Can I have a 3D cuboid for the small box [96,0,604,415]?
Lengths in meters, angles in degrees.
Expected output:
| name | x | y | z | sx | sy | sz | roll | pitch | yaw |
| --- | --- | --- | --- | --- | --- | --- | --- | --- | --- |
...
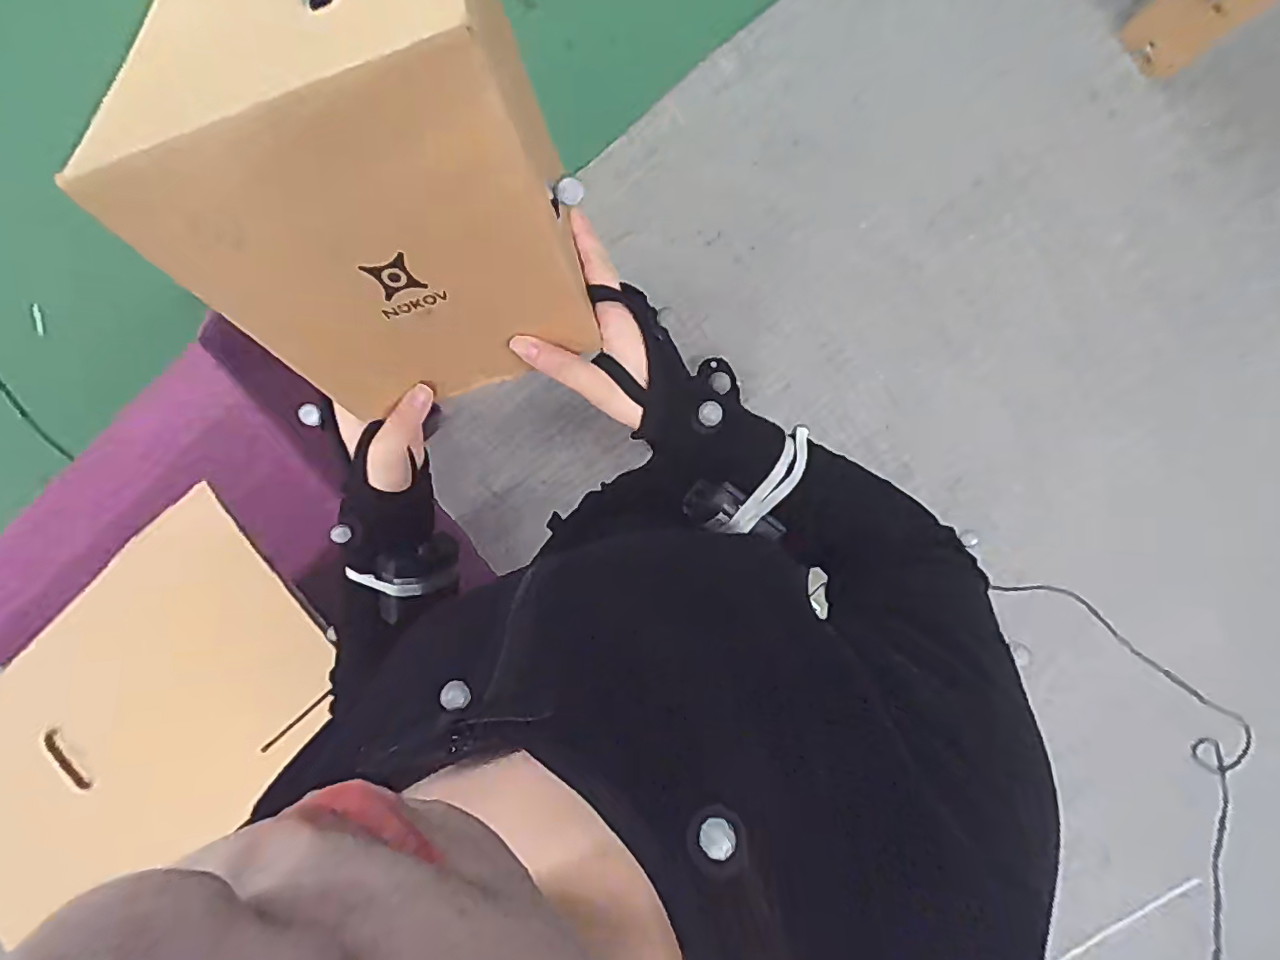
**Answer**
| name | x | y | z | sx | sy | sz | roll | pitch | yaw |
| --- | --- | --- | --- | --- | --- | --- | --- | --- | --- |
| small box | -0.134 | -0.170 | 0.312 | 0.168 | 0.179 | 0.176 | -16 | 63 | 6 |
